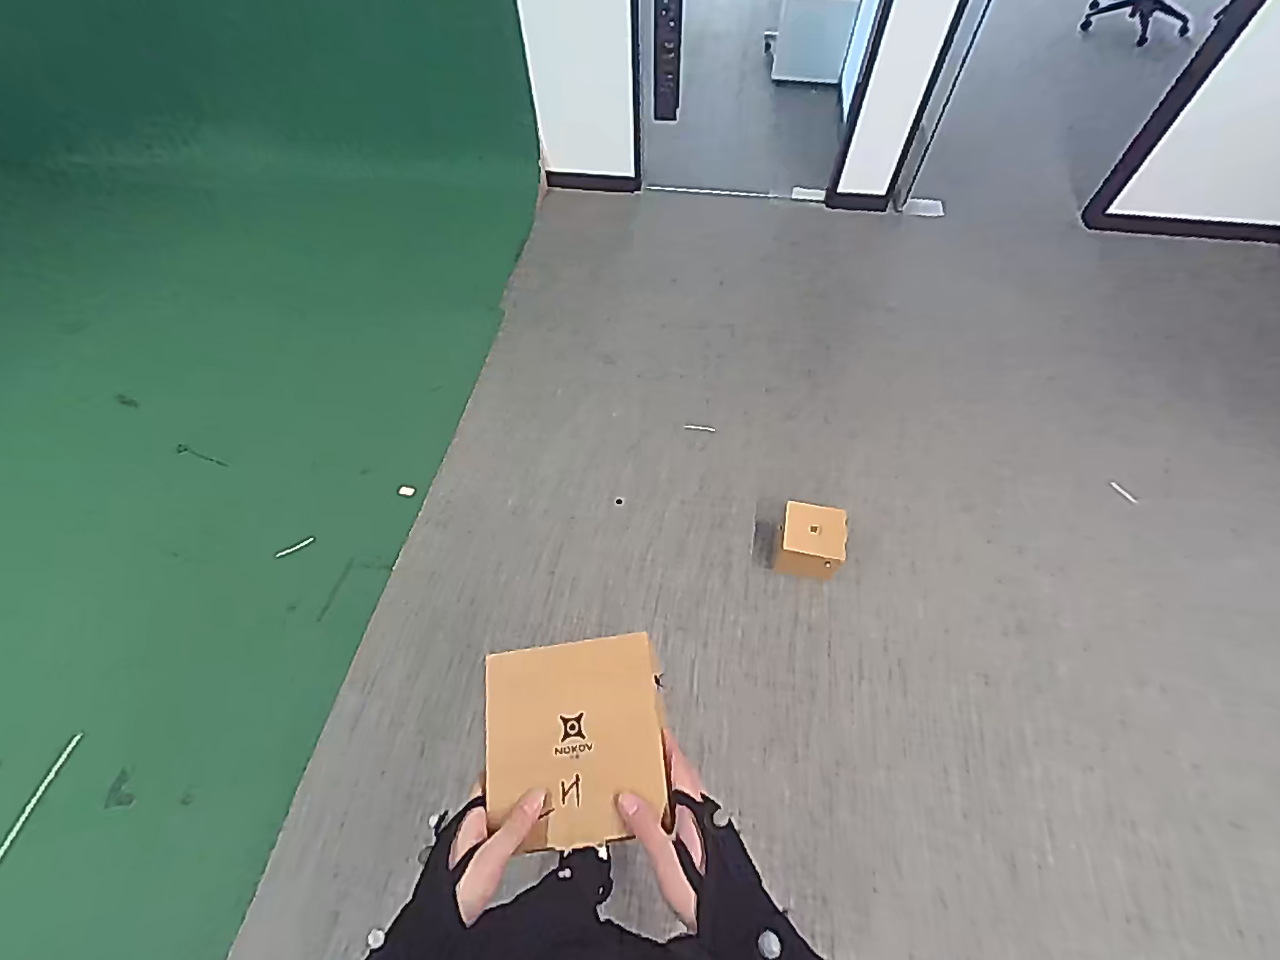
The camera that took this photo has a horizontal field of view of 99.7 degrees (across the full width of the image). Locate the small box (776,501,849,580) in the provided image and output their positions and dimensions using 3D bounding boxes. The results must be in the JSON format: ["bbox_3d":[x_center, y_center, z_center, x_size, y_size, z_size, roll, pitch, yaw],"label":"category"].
[{"bbox_3d":[0.509,0.184,1.610,0.179,0.176,0.168,10,59,7],"label":"small box"}]

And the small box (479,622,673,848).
[{"bbox_3d":[-0.060,0.263,0.570,0.168,0.176,0.179,-9,64,2],"label":"small box"}]
